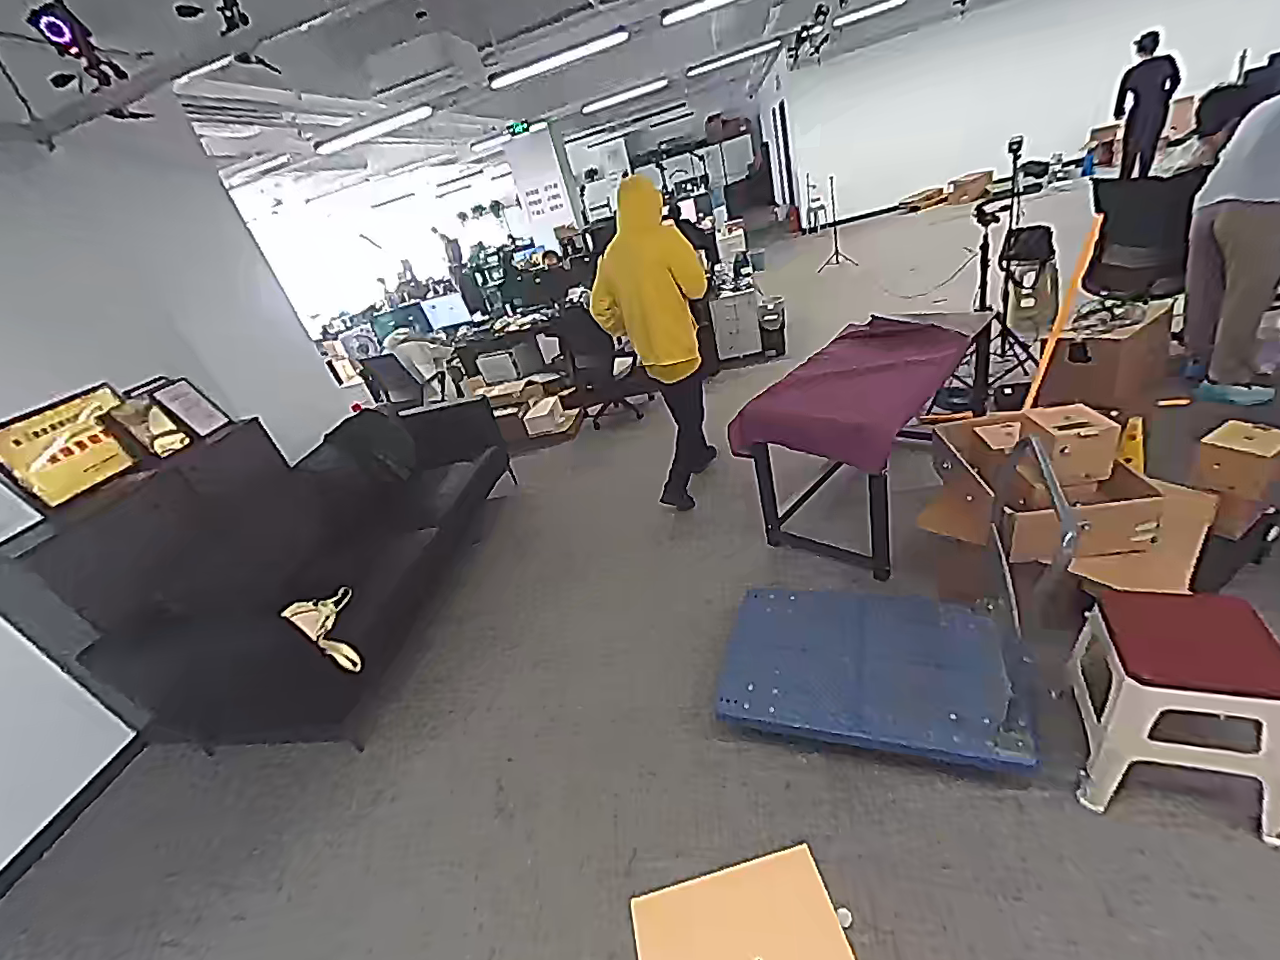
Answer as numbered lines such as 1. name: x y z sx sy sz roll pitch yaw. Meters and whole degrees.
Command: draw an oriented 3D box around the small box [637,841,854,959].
1. small box: 0.103 0.457 0.457 0.168 0.176 0.179 -15 31 -1
